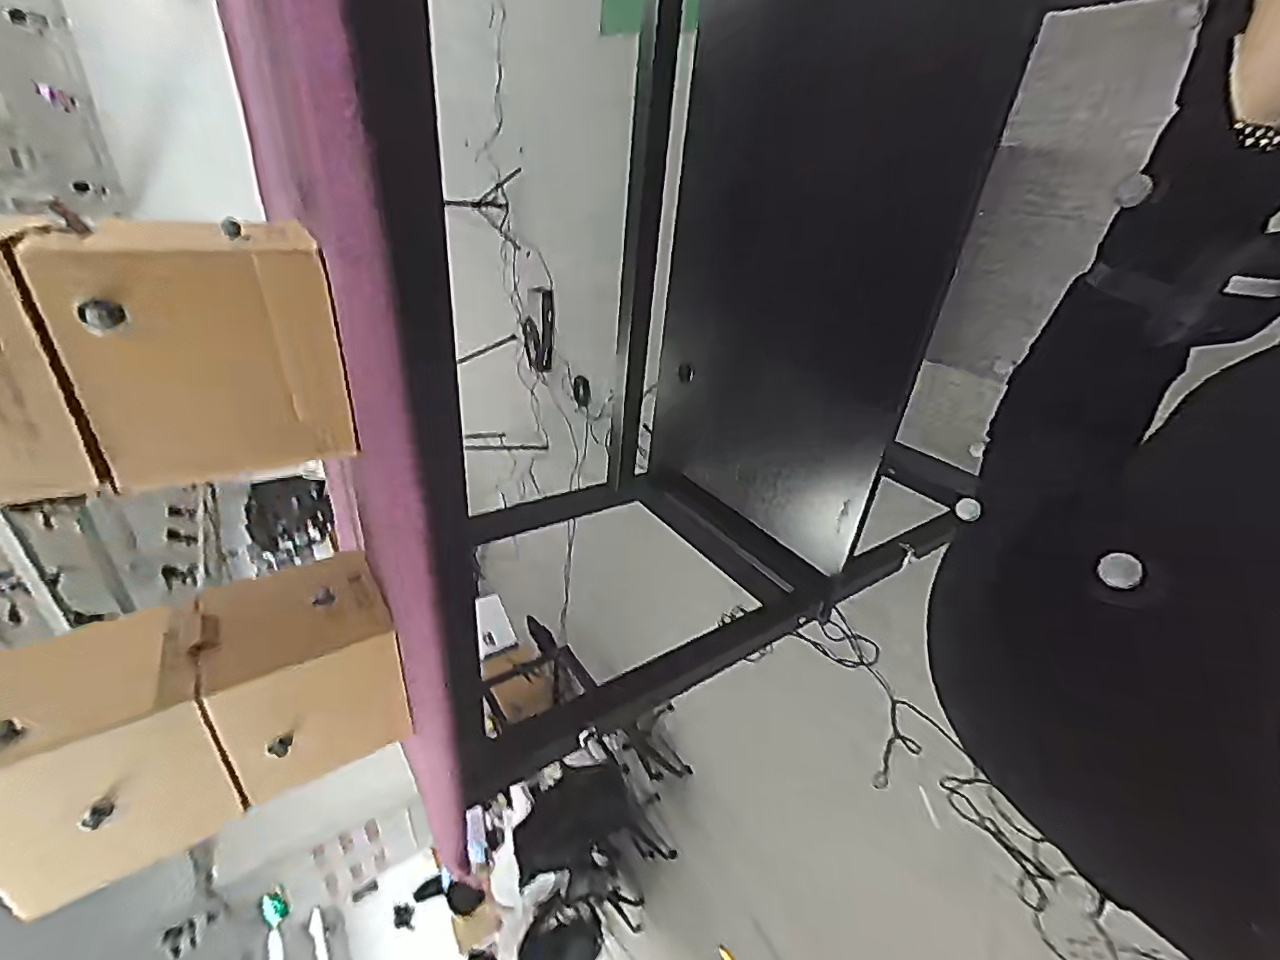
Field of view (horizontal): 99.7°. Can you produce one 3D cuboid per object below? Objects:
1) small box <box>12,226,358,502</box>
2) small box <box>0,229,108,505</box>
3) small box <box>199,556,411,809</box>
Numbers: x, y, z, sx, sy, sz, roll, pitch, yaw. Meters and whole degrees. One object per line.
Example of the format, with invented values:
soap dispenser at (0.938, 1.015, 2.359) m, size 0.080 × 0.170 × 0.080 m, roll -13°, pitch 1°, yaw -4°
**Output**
small box at (-0.353, -0.109, 0.459) m, size 0.168 × 0.176 × 0.179 m, roll 39°, pitch 133°, yaw 45°
small box at (-0.487, -0.081, 0.372) m, size 0.179 × 0.176 × 0.168 m, roll 38°, pitch 130°, yaw 48°
small box at (-0.373, 0.217, 0.617) m, size 0.168 × 0.176 × 0.179 m, roll 36°, pitch 131°, yaw 44°
